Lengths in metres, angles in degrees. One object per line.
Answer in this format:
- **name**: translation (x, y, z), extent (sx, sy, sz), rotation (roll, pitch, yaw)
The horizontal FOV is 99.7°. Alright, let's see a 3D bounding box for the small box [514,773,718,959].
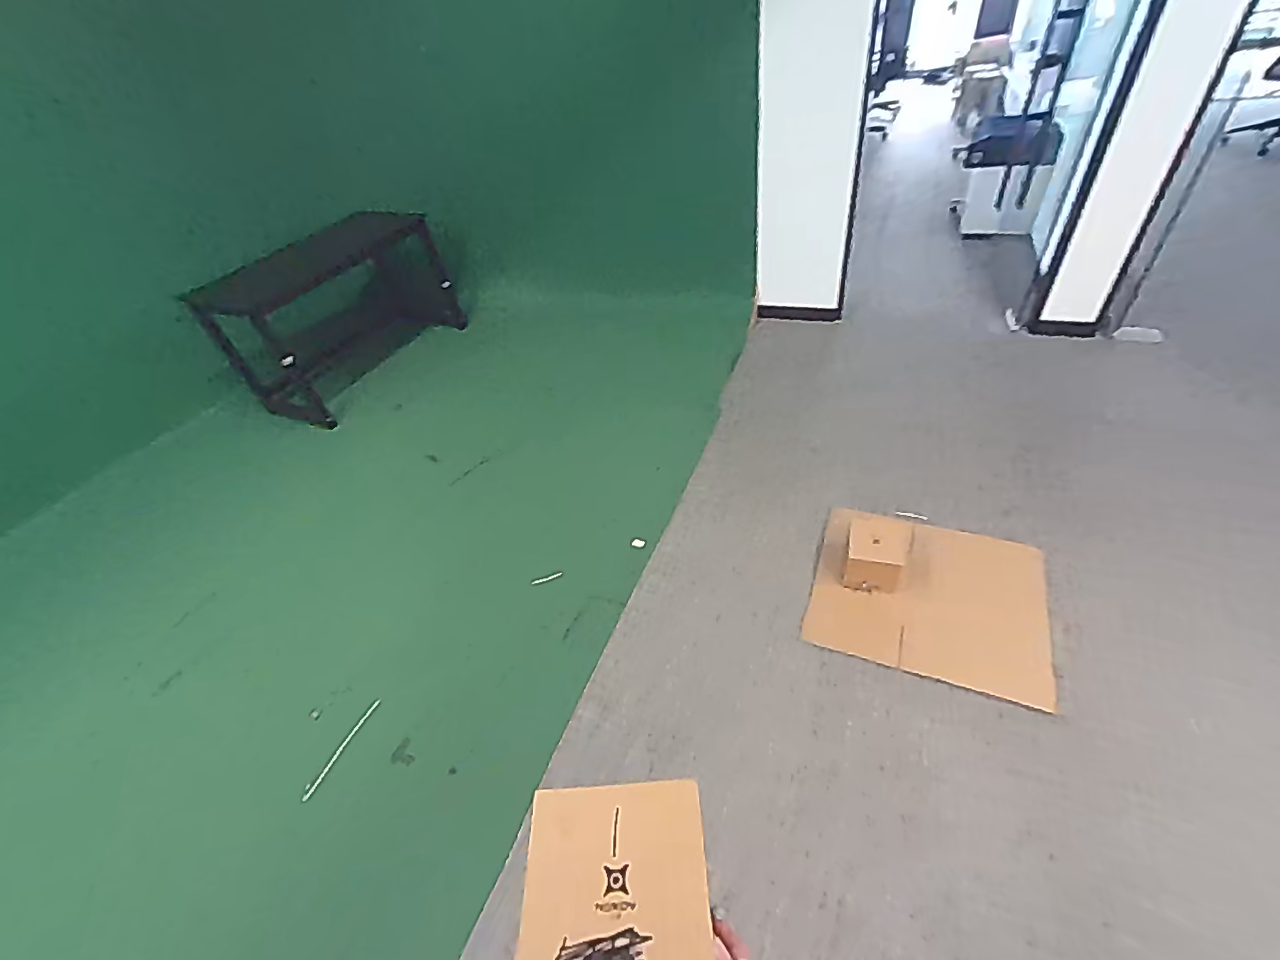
- **small box**: translation (-0.013, 0.411, 0.527), extent (0.168, 0.176, 0.179), rotation (-5, 42, 4)

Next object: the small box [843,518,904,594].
- **small box**: translation (0.782, 0.254, 1.815), extent (0.168, 0.176, 0.179), rotation (6, 46, 18)
